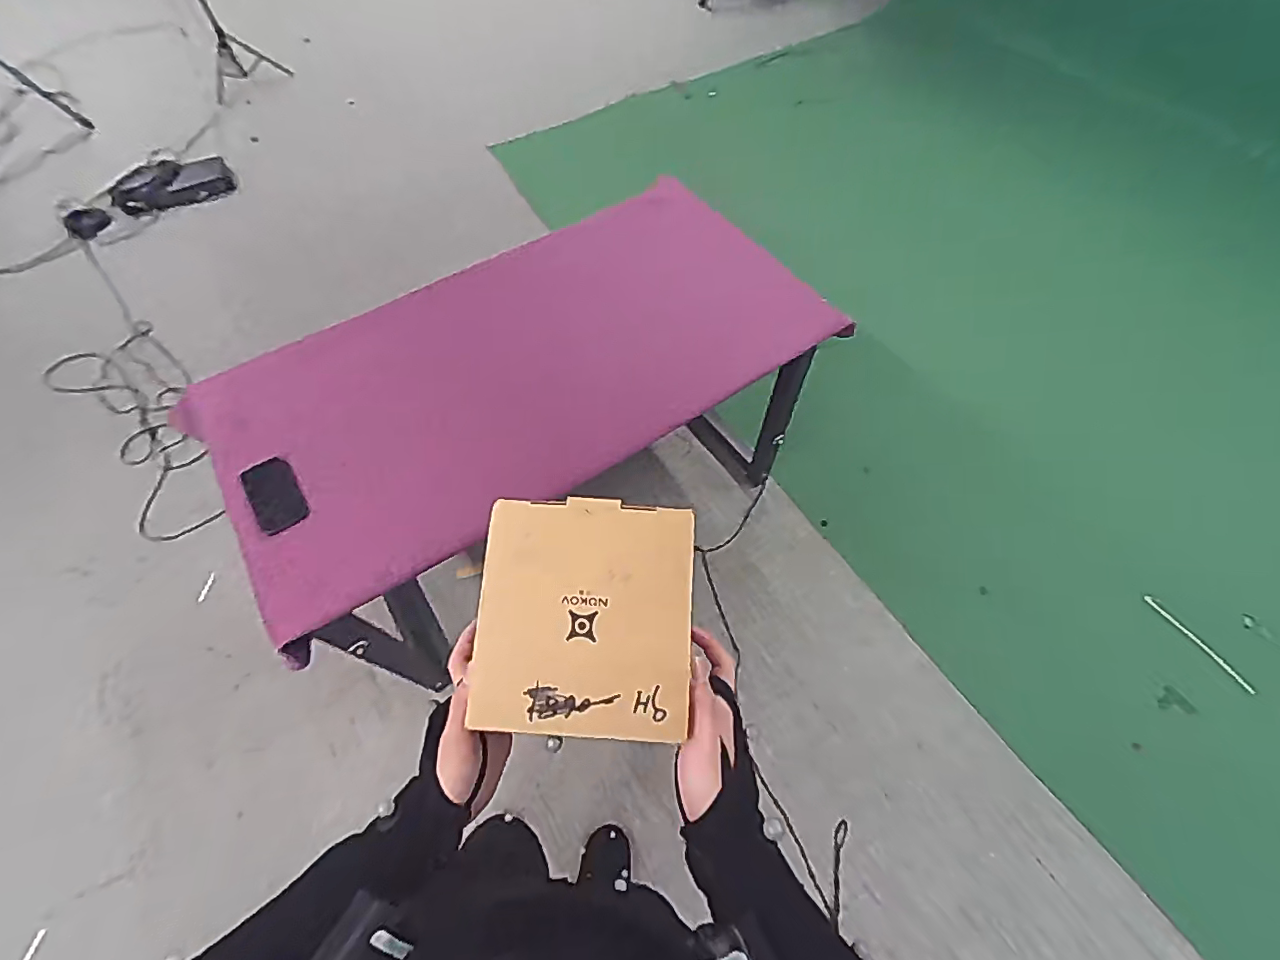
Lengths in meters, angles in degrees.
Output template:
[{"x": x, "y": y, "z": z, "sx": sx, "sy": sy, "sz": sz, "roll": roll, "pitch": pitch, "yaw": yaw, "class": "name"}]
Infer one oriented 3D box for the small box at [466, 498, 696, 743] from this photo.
[{"x": -0.039, "y": 0.124, "z": 0.494, "sx": 0.168, "sy": 0.176, "sz": 0.179, "roll": 3, "pitch": 75, "yaw": 4, "class": "small box"}]
